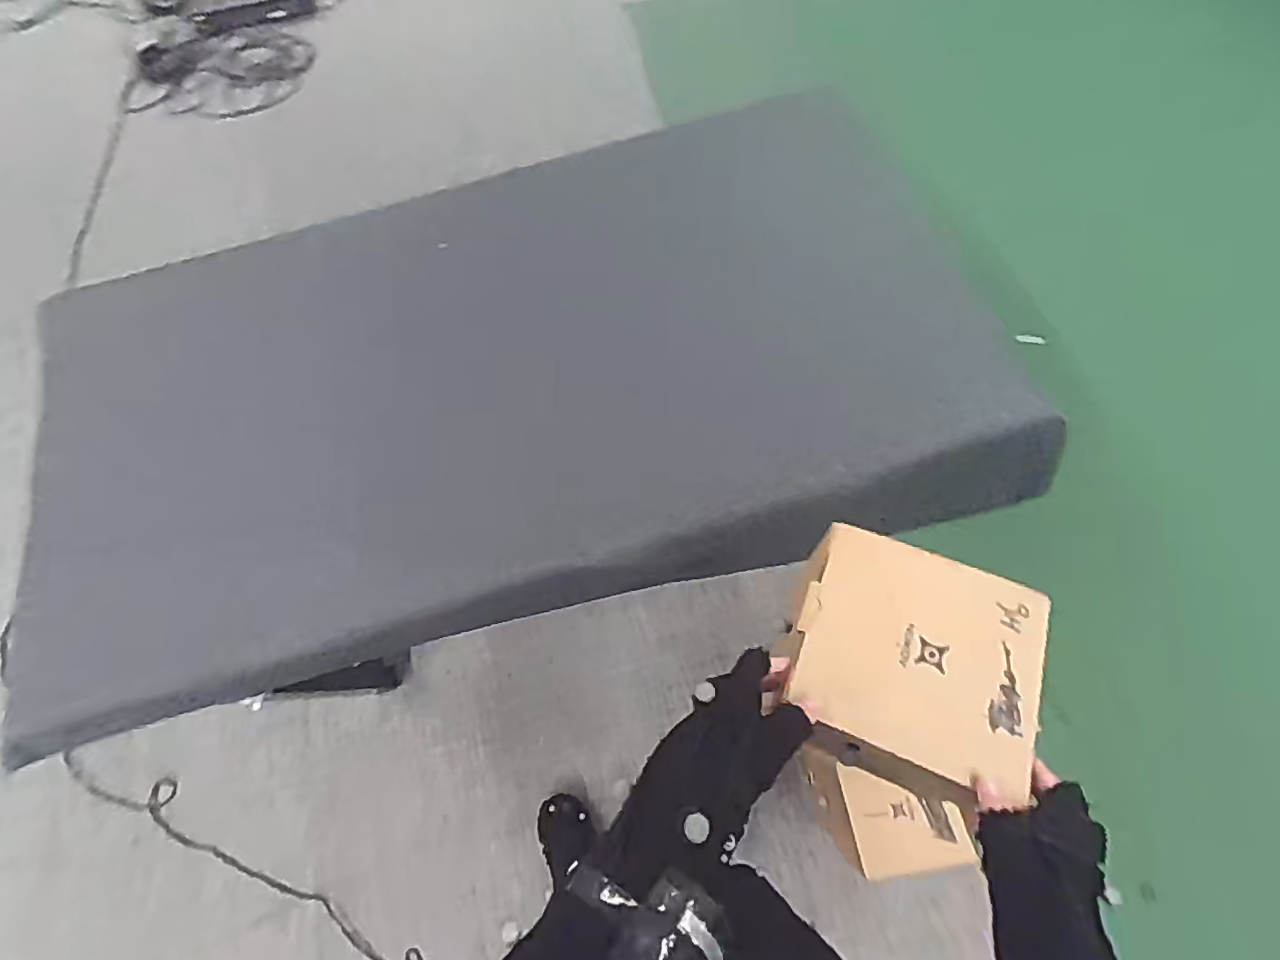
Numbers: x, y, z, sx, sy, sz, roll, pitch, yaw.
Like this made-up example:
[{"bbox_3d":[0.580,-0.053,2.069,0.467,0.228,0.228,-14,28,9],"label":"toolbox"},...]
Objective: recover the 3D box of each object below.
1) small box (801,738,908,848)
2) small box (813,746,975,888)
[{"bbox_3d":[0.437,0.616,1.070,0.179,0.176,0.168,-9,68,2],"label":"small box"},{"bbox_3d":[0.415,0.558,0.917,0.179,0.176,0.168,-9,68,1],"label":"small box"}]
